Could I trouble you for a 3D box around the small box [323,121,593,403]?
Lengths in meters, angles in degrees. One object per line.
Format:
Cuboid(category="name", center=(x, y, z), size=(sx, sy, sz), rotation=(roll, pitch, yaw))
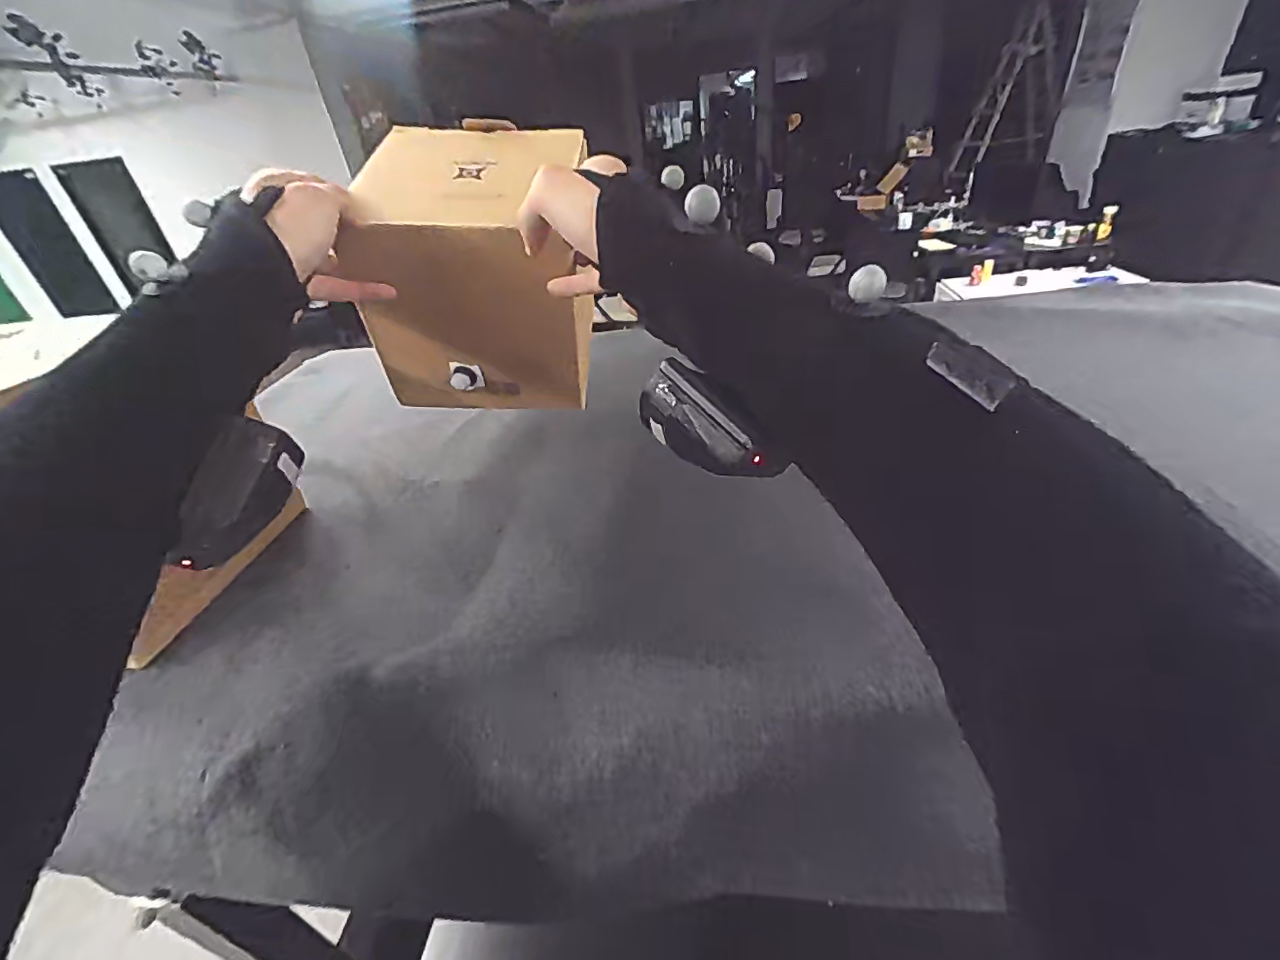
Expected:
Cuboid(category="small box", center=(-0.130, -0.188, 0.470), size=(0.168, 0.176, 0.179), rotation=(0, 49, -1))
